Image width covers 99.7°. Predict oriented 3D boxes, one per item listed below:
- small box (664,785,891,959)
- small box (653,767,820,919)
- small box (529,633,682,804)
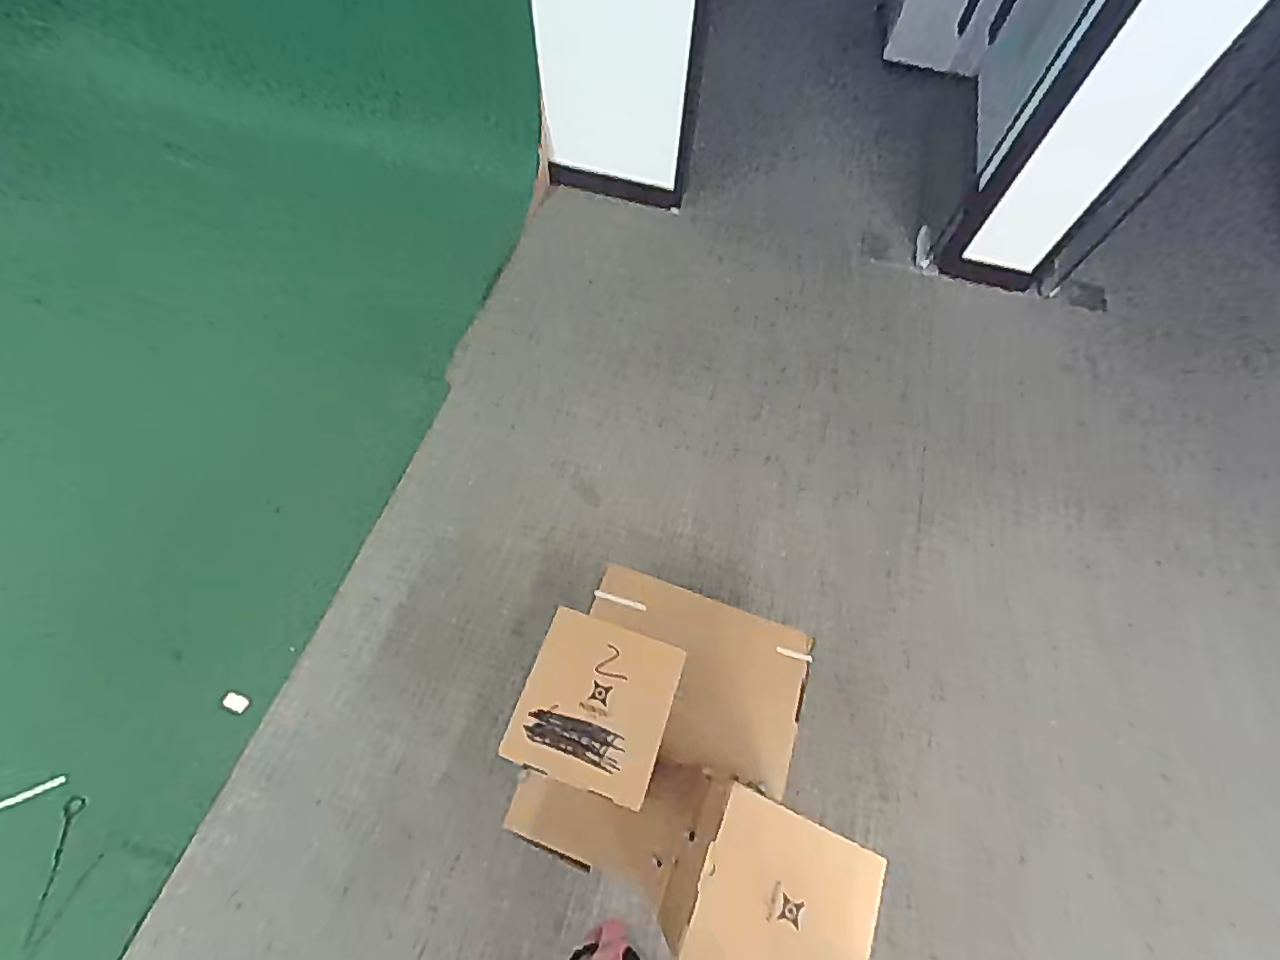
[{"bbox_3d":[0.142,0.459,0.601,0.179,0.176,0.168,23,63,7],"label":"small box"},{"bbox_3d":[0.125,0.524,0.750,0.168,0.176,0.179,23,62,7],"label":"small box"},{"bbox_3d":[-0.050,0.364,0.825,0.168,0.176,0.179,21,62,9],"label":"small box"}]
